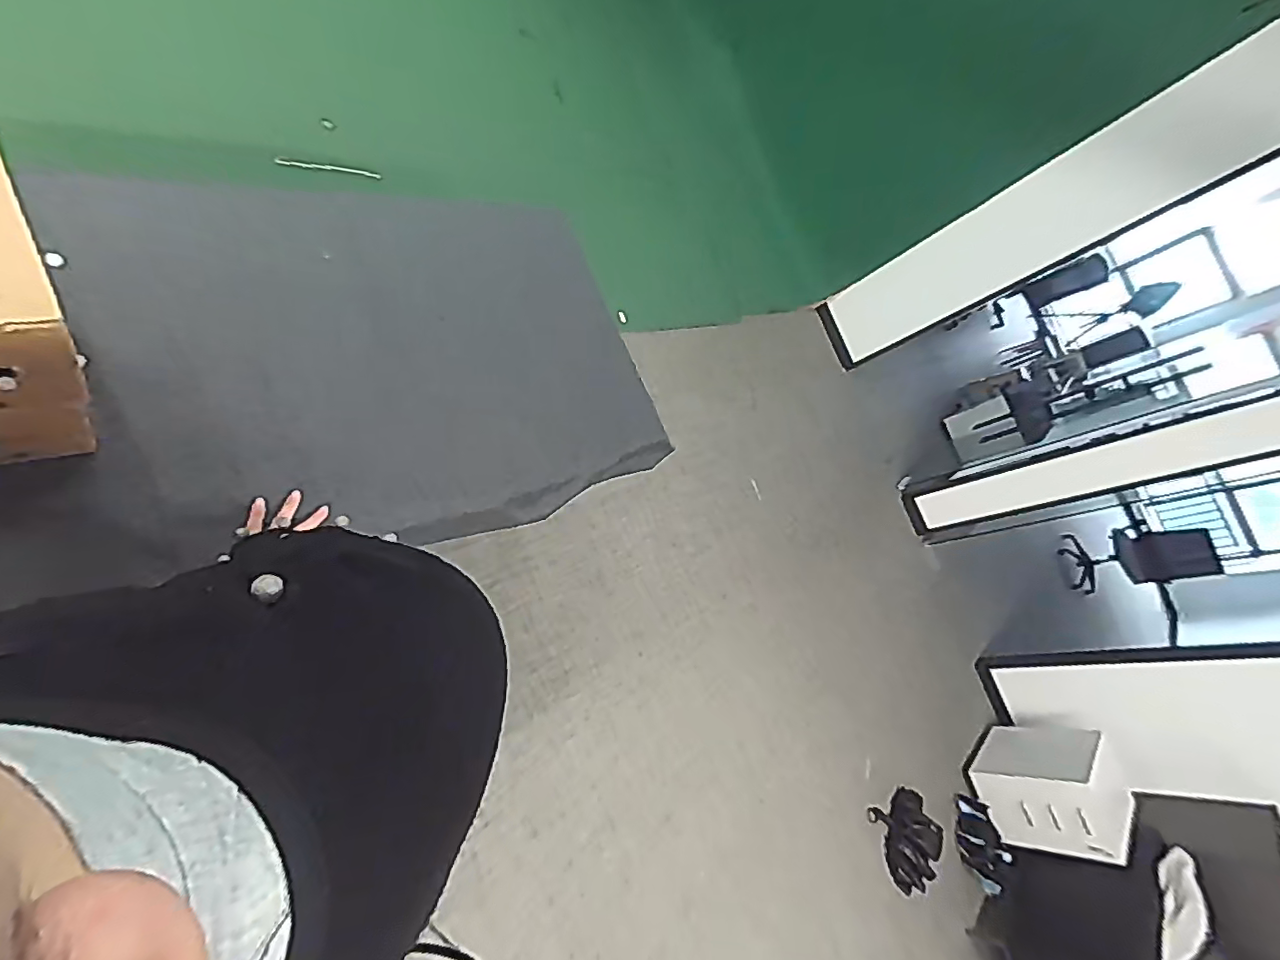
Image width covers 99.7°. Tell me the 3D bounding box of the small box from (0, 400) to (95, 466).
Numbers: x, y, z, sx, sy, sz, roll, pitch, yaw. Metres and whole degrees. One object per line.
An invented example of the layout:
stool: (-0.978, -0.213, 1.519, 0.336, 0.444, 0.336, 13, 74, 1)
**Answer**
small box: (-0.690, -0.111, 0.543, 0.168, 0.176, 0.179, -20, 85, -44)

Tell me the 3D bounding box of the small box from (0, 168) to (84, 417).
small box: (-0.584, -0.149, 0.424, 0.168, 0.176, 0.179, -23, 86, -44)
